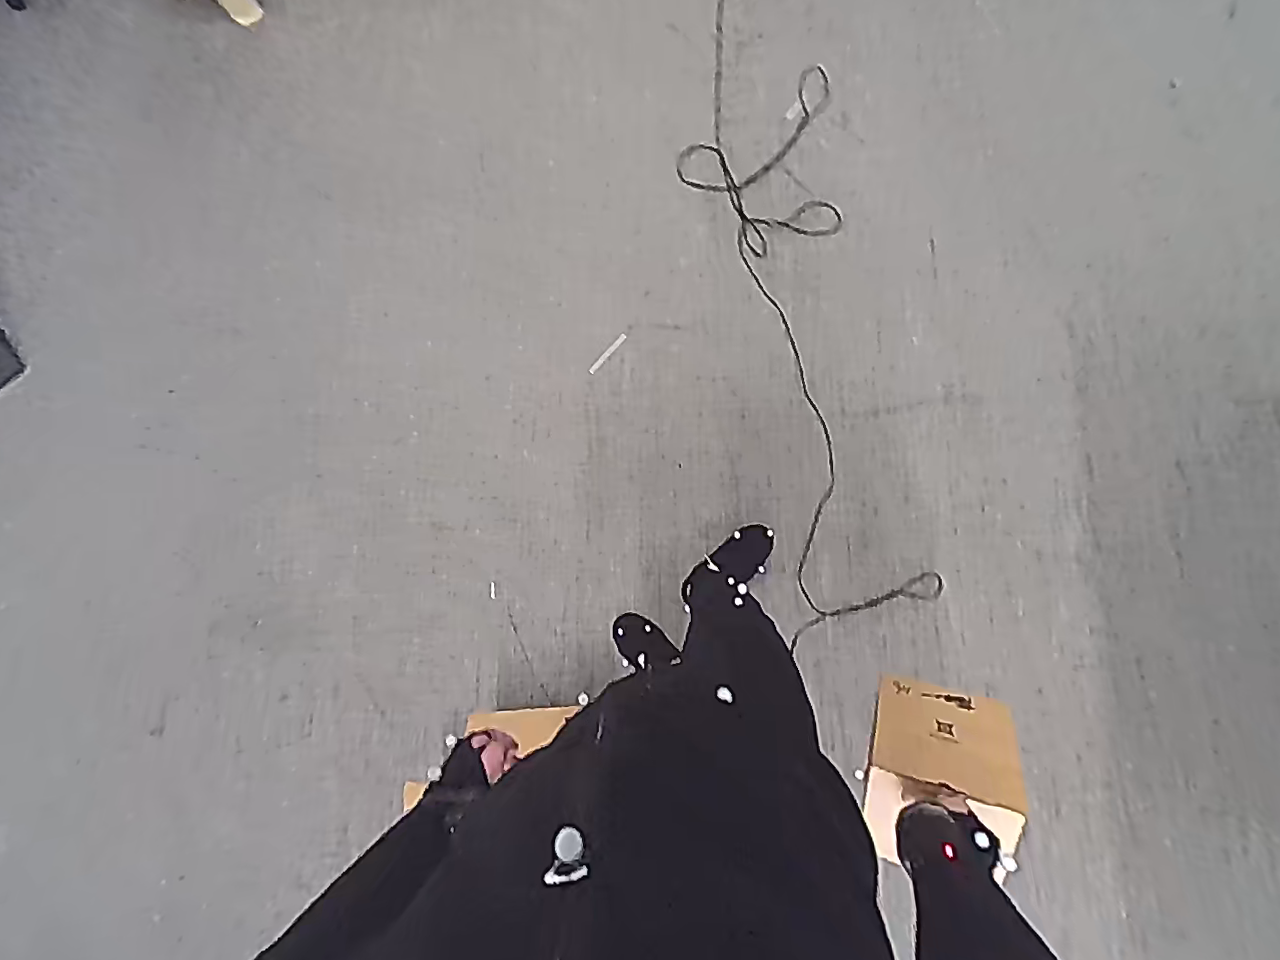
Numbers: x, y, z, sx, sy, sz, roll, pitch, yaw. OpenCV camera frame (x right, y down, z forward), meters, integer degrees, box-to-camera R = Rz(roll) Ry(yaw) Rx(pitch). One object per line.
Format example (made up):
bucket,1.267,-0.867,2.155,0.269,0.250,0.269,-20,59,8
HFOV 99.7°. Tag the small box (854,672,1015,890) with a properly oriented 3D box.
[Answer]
small box,0.399,0.410,0.750,0.168,0.179,0.176,10,118,25
